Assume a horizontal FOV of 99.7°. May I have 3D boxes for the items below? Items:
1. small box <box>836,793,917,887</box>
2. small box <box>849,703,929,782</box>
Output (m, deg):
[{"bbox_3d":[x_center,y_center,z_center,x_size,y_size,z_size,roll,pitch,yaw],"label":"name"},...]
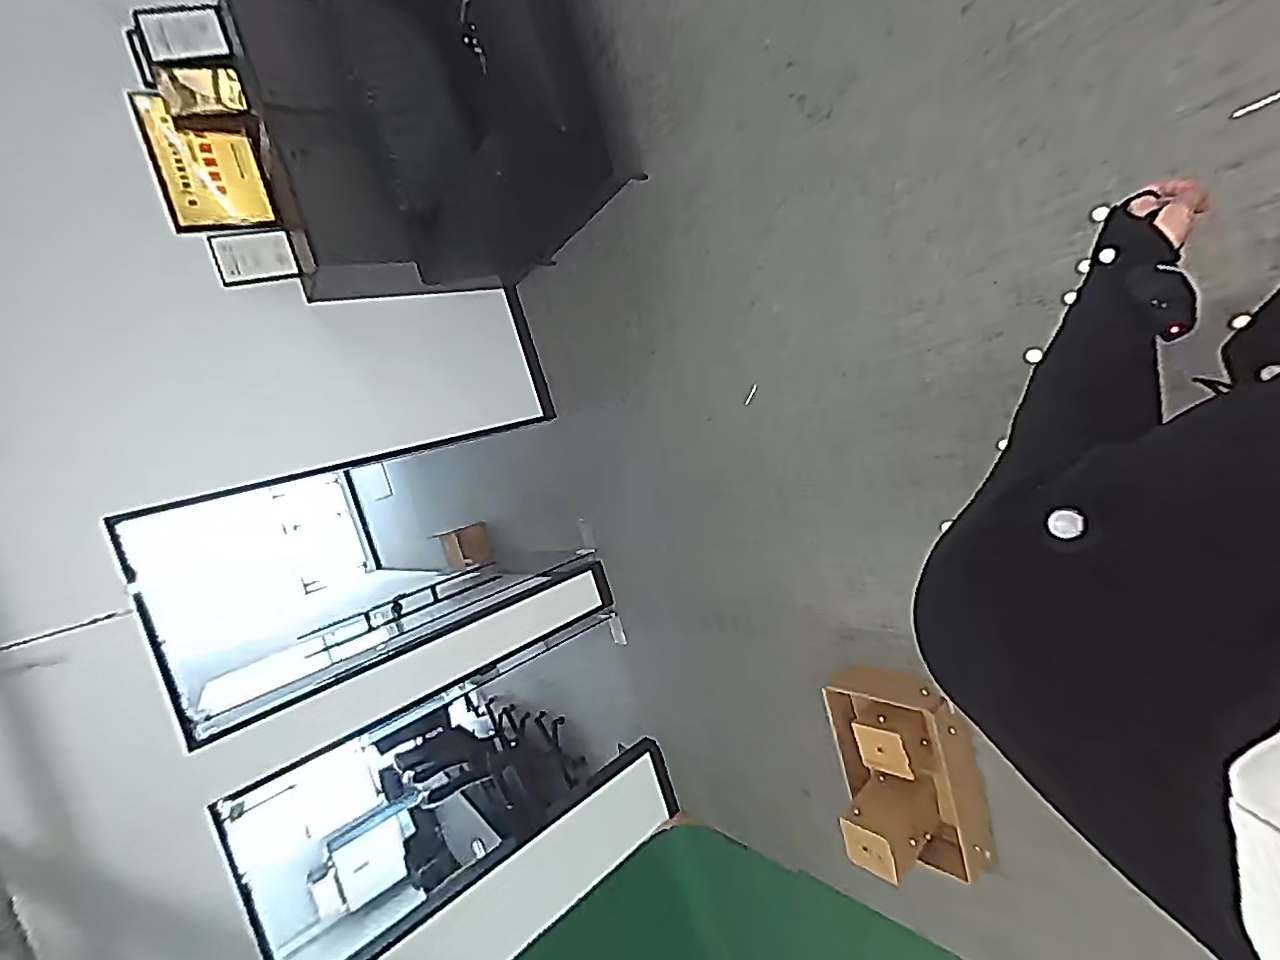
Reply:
[{"bbox_3d":[0.786,1.185,1.798,0.179,0.176,0.168,-6,99,52],"label":"small box"},{"bbox_3d":[0.858,0.892,1.860,0.179,0.176,0.168,-13,95,52],"label":"small box"}]
